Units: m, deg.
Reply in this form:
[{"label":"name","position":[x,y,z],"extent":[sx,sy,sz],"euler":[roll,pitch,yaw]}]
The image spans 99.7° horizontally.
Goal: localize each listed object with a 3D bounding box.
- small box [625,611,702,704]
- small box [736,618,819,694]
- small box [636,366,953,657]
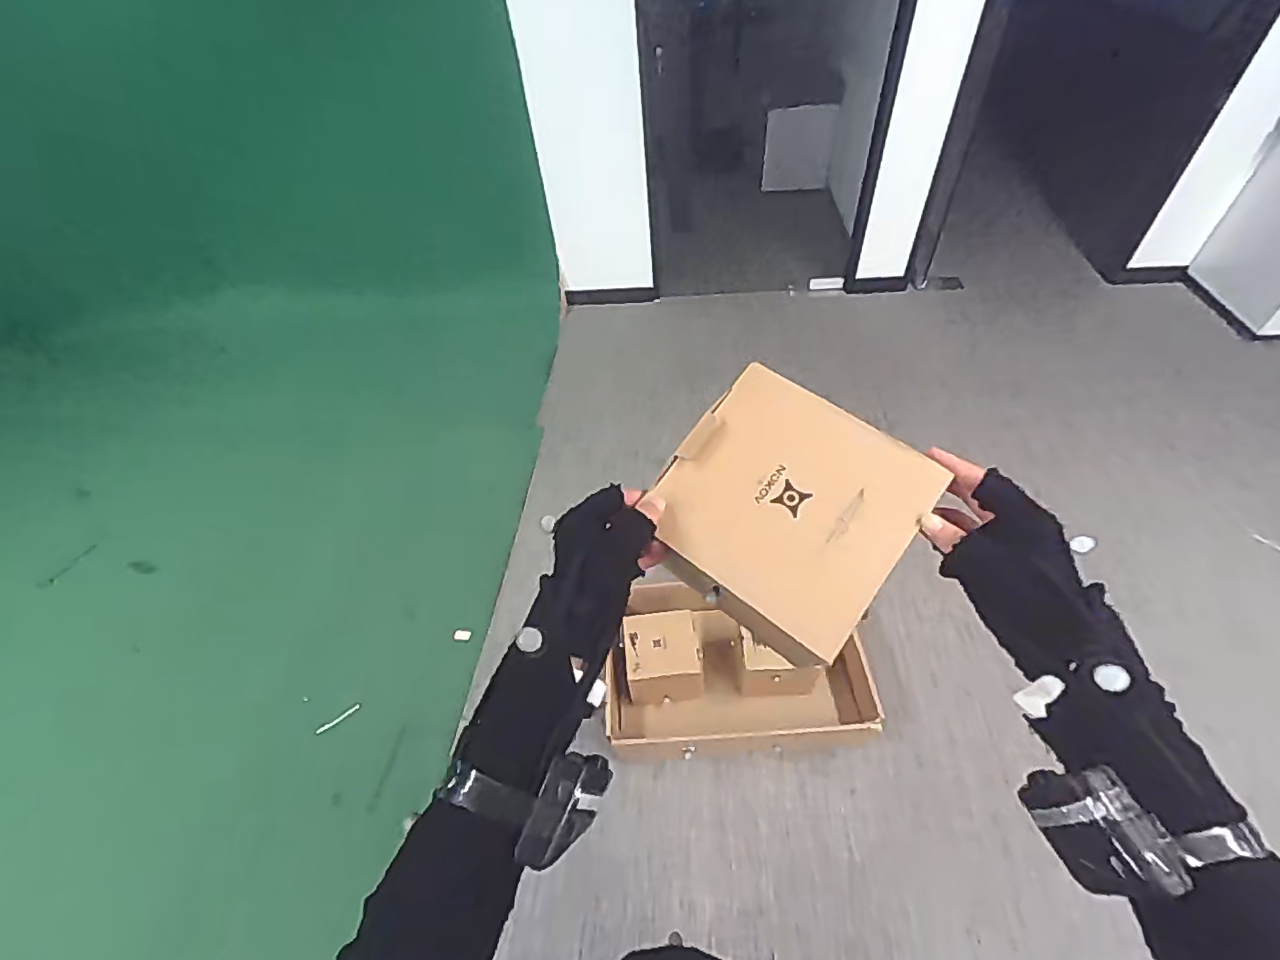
[{"label":"small box","position":[0.057,0.451,1.373],"extent":[0.179,0.176,0.168],"euler":[-6,47,-1]},{"label":"small box","position":[0.337,0.428,1.363],"extent":[0.179,0.176,0.168],"euler":[-4,48,4]},{"label":"small box","position":[0.122,0.040,0.475],"extent":[0.179,0.176,0.168],"euler":[35,79,17]}]
